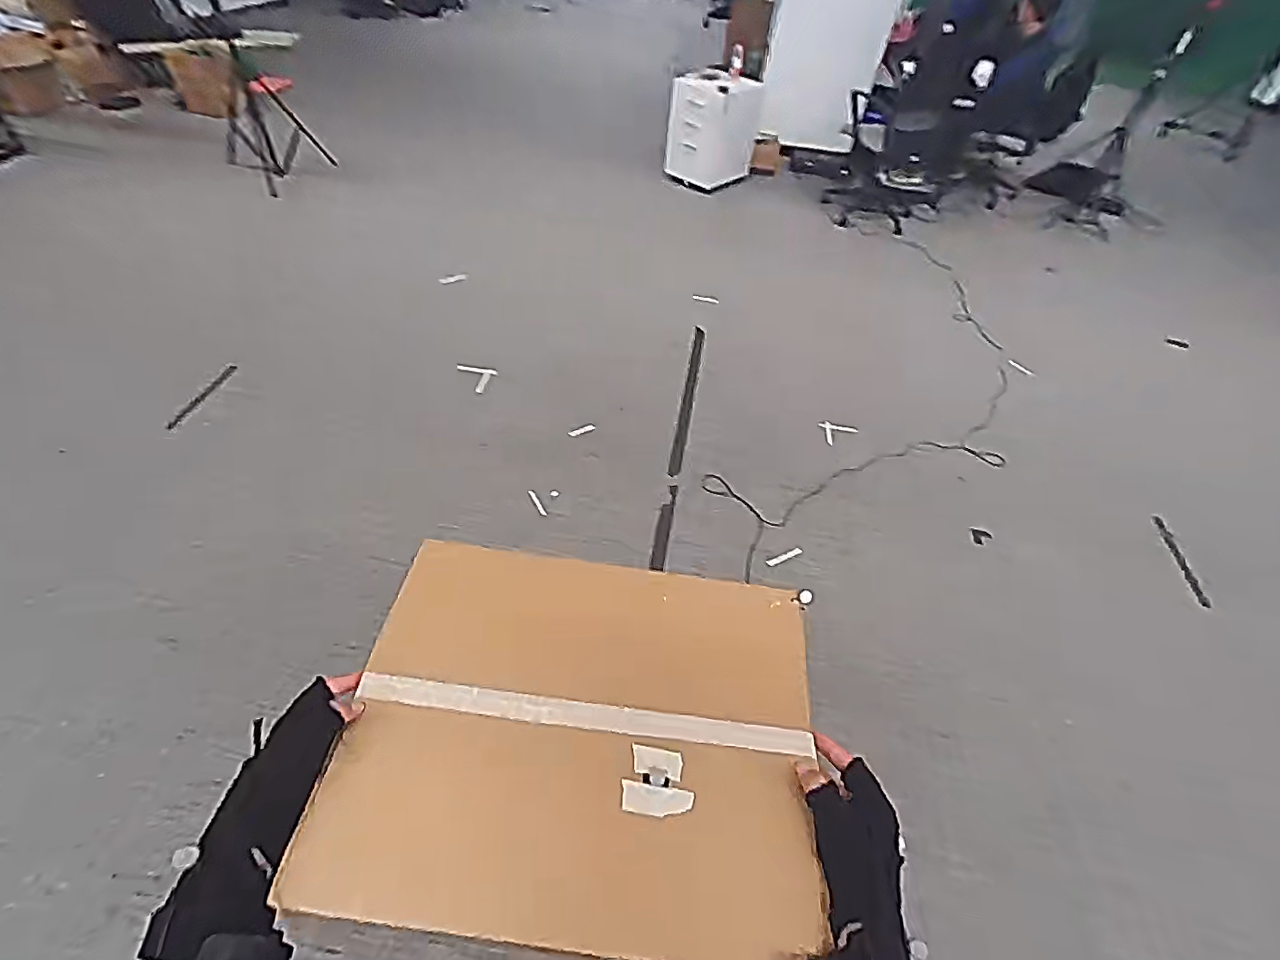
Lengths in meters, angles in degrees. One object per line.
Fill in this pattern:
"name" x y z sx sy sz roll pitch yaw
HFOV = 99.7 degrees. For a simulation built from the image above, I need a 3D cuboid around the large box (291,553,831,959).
"large box" -0.057 0.315 0.597 0.408 0.320 0.320 9 50 0
